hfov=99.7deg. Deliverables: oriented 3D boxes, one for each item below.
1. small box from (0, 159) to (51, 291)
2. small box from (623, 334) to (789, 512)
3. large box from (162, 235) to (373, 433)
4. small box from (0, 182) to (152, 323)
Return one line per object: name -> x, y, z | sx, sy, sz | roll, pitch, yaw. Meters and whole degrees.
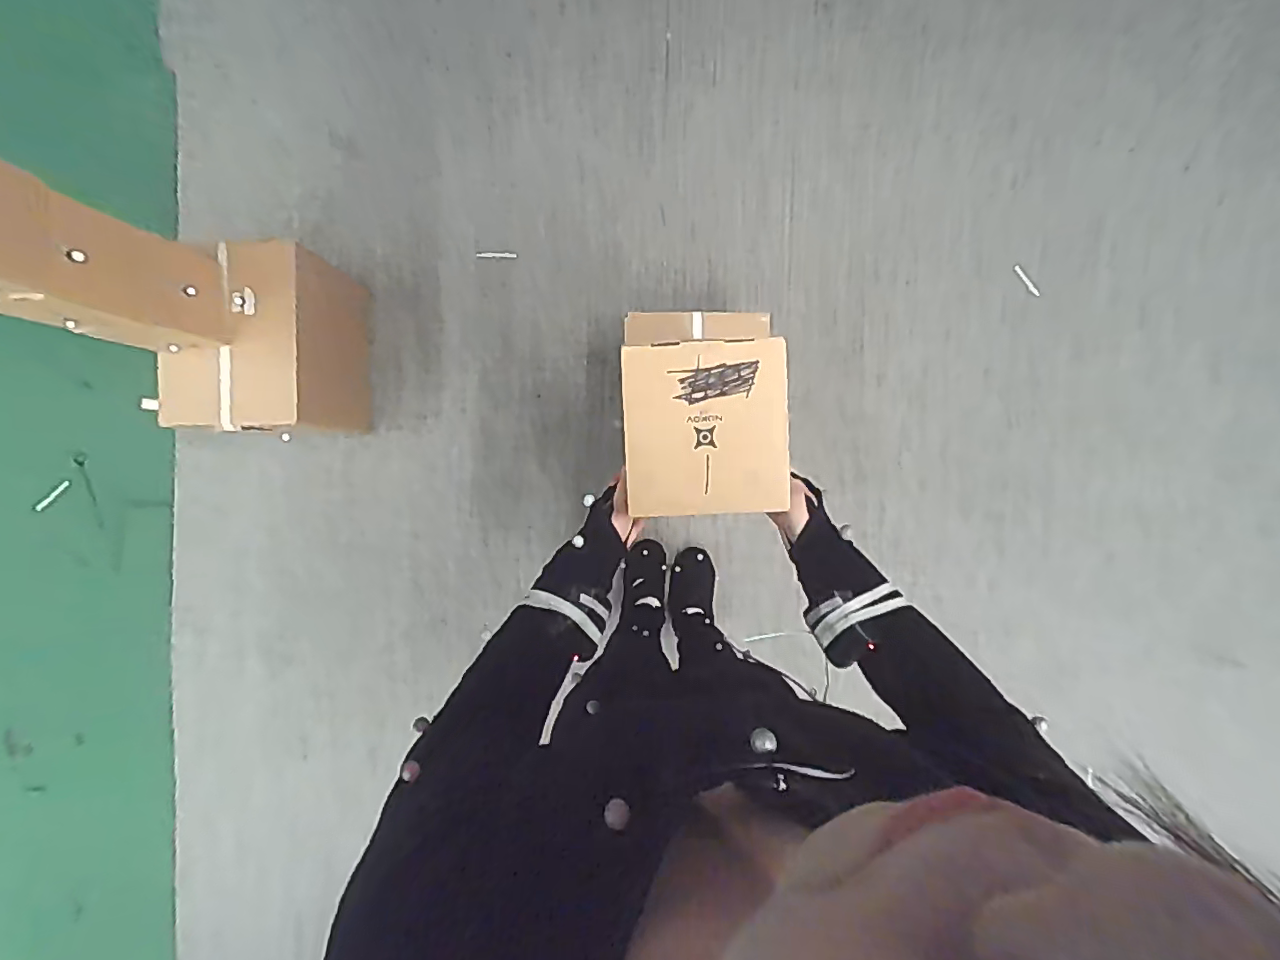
small box -> -0.992, -0.379, 0.757 | 0.168, 0.176, 0.179 | 2, 93, 5
small box -> 0.069, -0.061, 0.620 | 0.168, 0.176, 0.179 | -2, 94, 3
large box -> -0.885, -0.330, 1.326 | 0.320, 0.320, 0.408 | 0, 91, 2
small box -> -0.984, -0.377, 0.920 | 0.168, 0.176, 0.179 | 0, 92, 5
